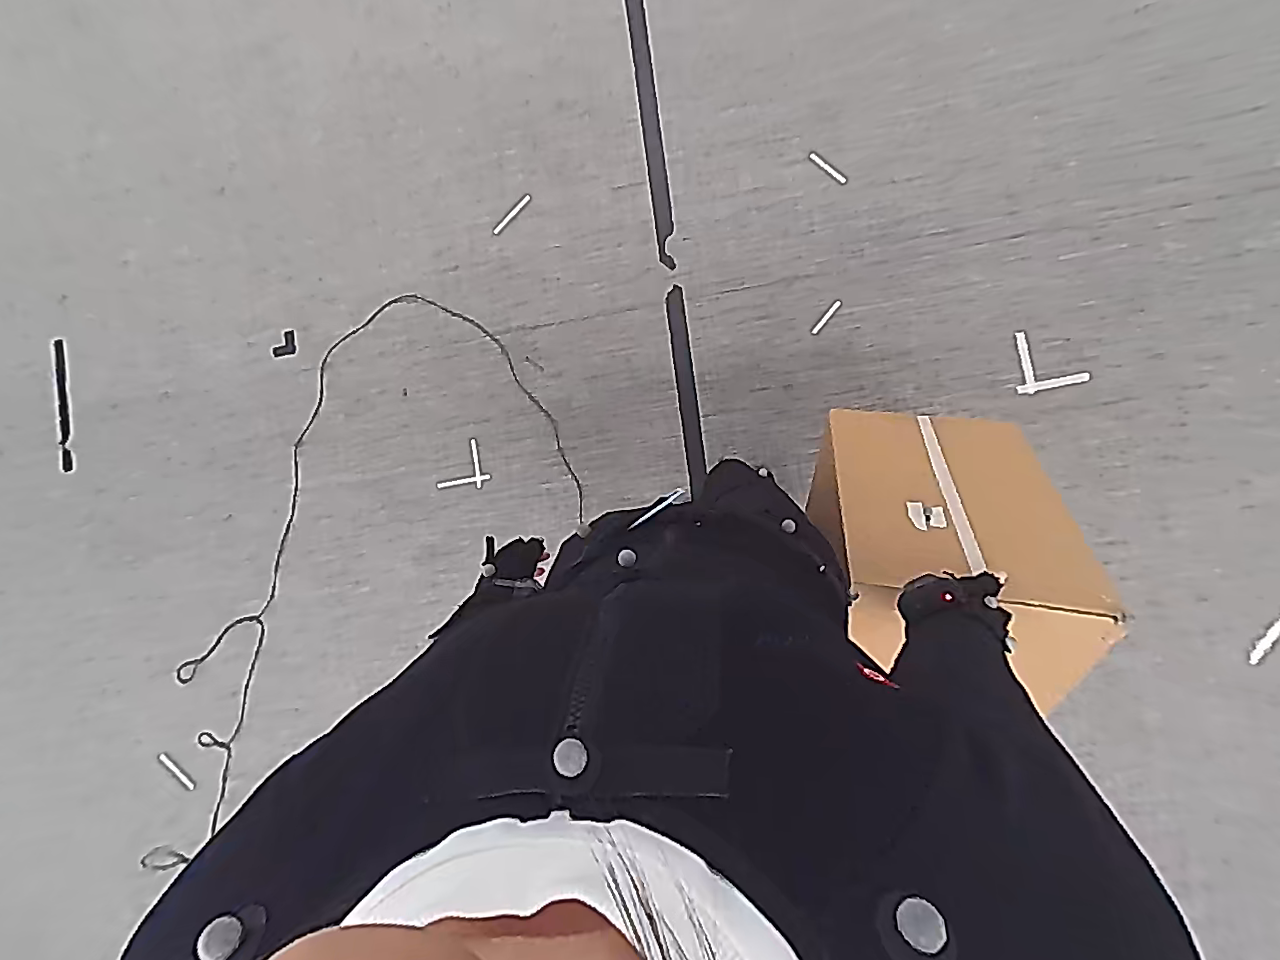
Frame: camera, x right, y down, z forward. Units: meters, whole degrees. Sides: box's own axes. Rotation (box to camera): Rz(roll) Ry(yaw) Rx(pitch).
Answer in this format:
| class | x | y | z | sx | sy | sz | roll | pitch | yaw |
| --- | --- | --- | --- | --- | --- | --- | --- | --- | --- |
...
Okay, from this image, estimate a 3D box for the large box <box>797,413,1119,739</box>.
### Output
| class | x | y | z | sx | sy | sz | roll | pitch | yaw |
| --- | --- | --- | --- | --- | --- | --- | --- | --- | --- |
| large box | 0.444 | 0.137 | 0.888 | 0.320 | 0.408 | 0.320 | 6 | 131 | 11 |
